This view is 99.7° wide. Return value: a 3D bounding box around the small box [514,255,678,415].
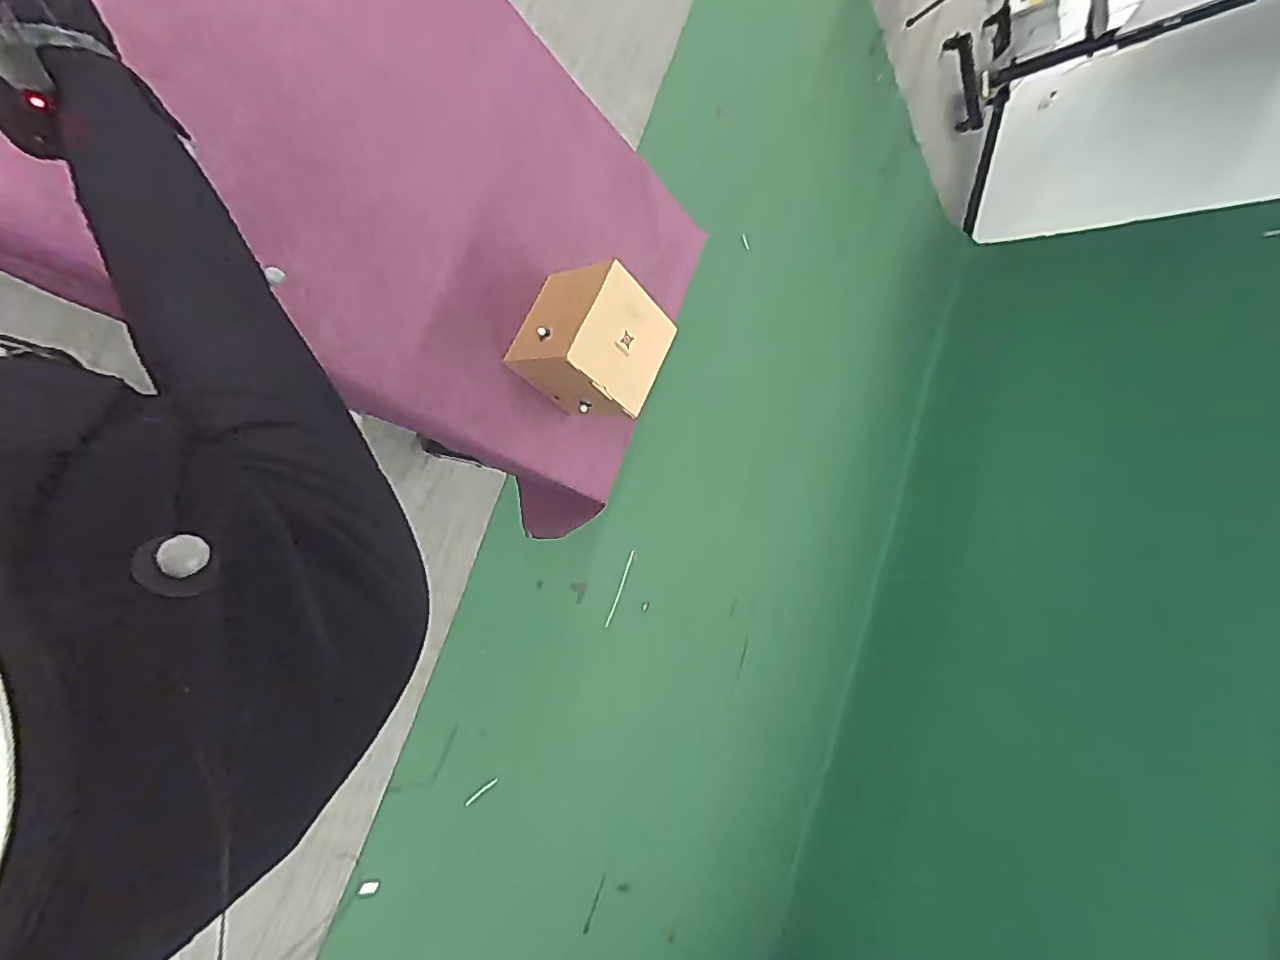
[{"bbox_3d":[-0.075,-0.222,0.865,0.168,0.176,0.179,37,71,-42],"label":"small box"}]
